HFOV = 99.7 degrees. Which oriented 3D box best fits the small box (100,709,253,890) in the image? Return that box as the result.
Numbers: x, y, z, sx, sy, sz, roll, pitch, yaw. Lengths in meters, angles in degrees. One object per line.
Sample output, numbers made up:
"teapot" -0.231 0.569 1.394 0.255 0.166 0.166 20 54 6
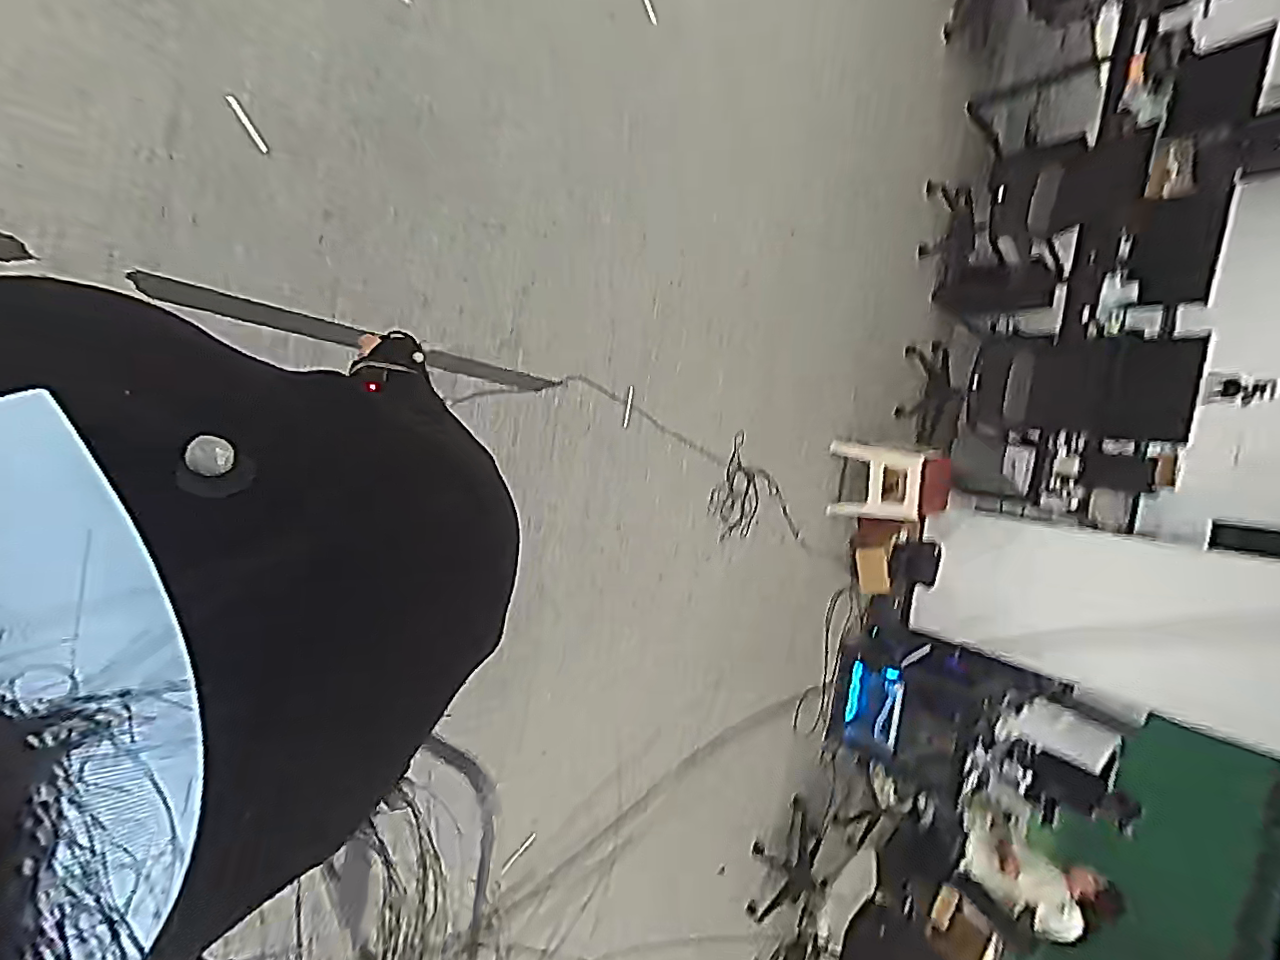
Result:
"small box" -0.755 0.508 0.890 0.168 0.176 0.179 7 92 -42
